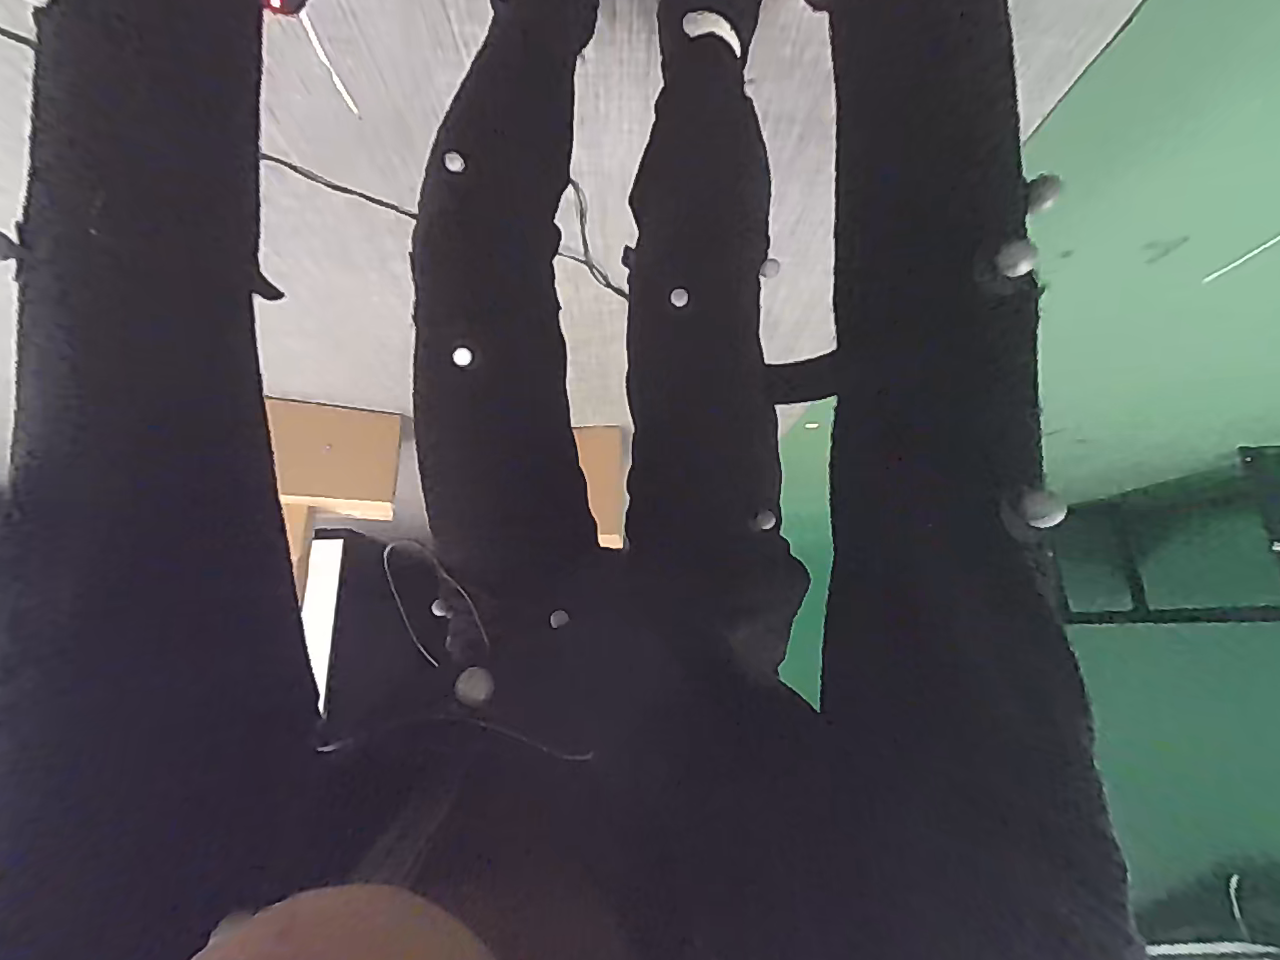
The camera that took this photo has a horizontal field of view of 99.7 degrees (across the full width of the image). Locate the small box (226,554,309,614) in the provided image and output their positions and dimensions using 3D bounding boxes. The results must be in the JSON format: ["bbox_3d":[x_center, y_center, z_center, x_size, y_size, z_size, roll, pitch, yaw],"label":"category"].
[{"bbox_3d":[-1.155,0.330,1.690,0.168,0.176,0.179,5,163,-20],"label":"small box"}]
